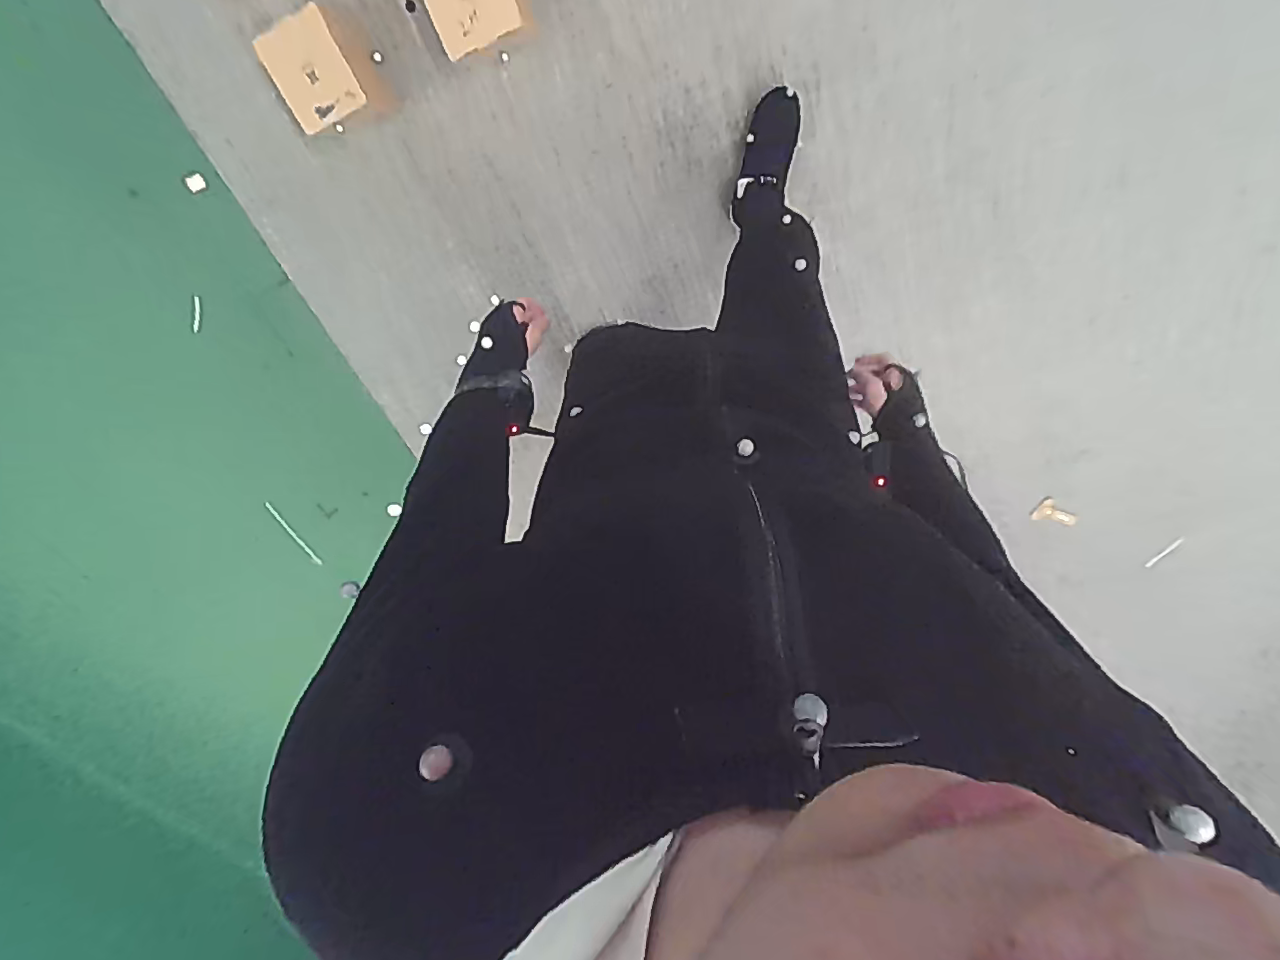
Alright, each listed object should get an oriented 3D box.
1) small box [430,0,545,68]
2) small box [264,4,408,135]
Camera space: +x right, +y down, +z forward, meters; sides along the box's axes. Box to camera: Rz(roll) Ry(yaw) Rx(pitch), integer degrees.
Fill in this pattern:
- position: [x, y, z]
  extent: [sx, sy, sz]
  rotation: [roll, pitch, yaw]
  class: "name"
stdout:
- position: [-0.310, -0.958, 1.076]
  extent: [0.168, 0.176, 0.179]
  rotation: [-14, 121, 15]
  class: "small box"
- position: [-0.645, -0.872, 1.169]
  extent: [0.168, 0.176, 0.179]
  rotation: [-15, 119, 16]
  class: "small box"
